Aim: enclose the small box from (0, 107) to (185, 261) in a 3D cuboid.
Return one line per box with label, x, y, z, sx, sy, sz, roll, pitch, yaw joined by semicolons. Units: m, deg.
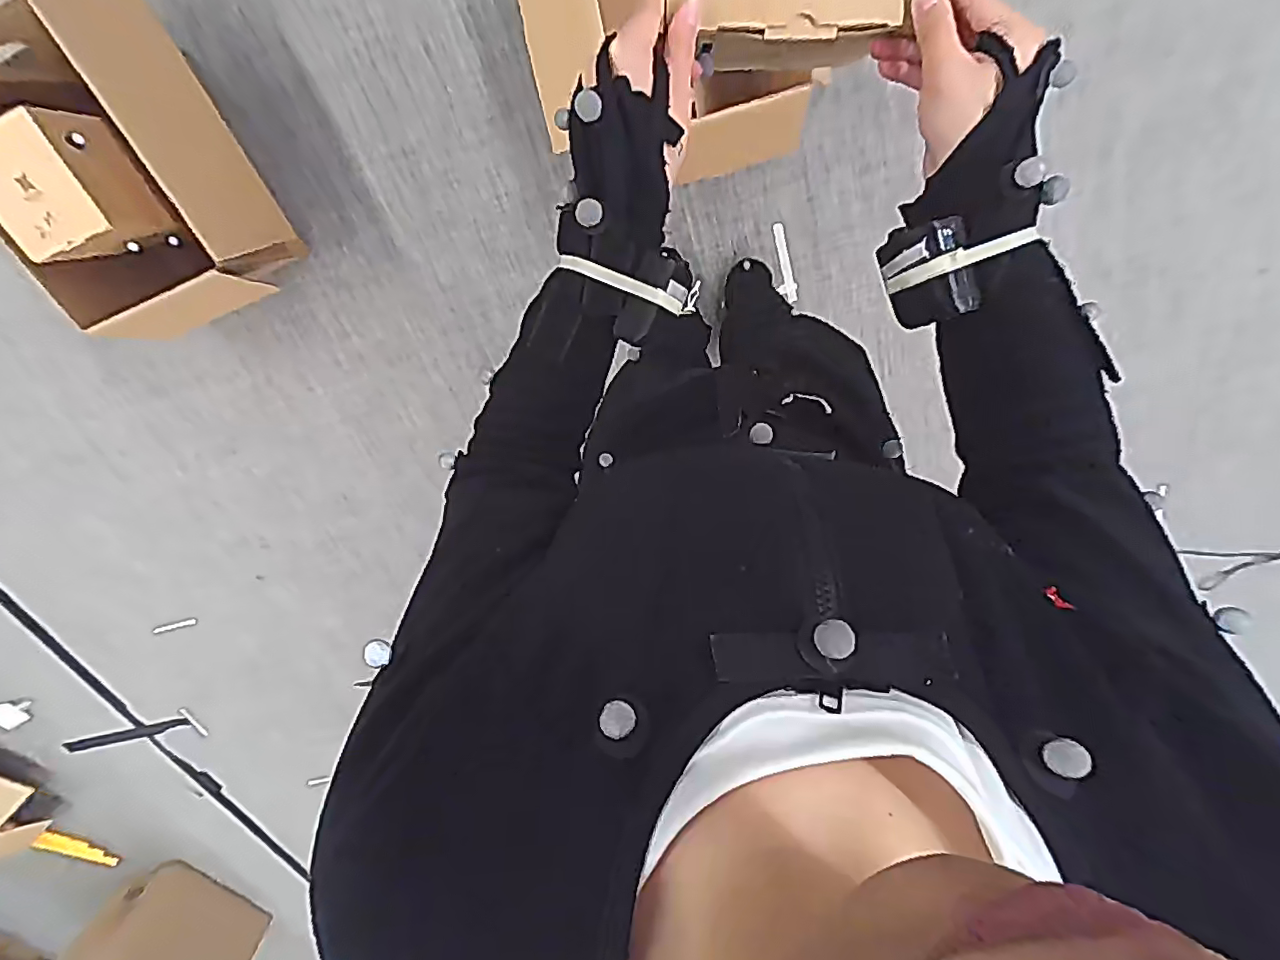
small box;-0.947;-0.489;0.914;0.168;0.176;0.179;-17;116;9
